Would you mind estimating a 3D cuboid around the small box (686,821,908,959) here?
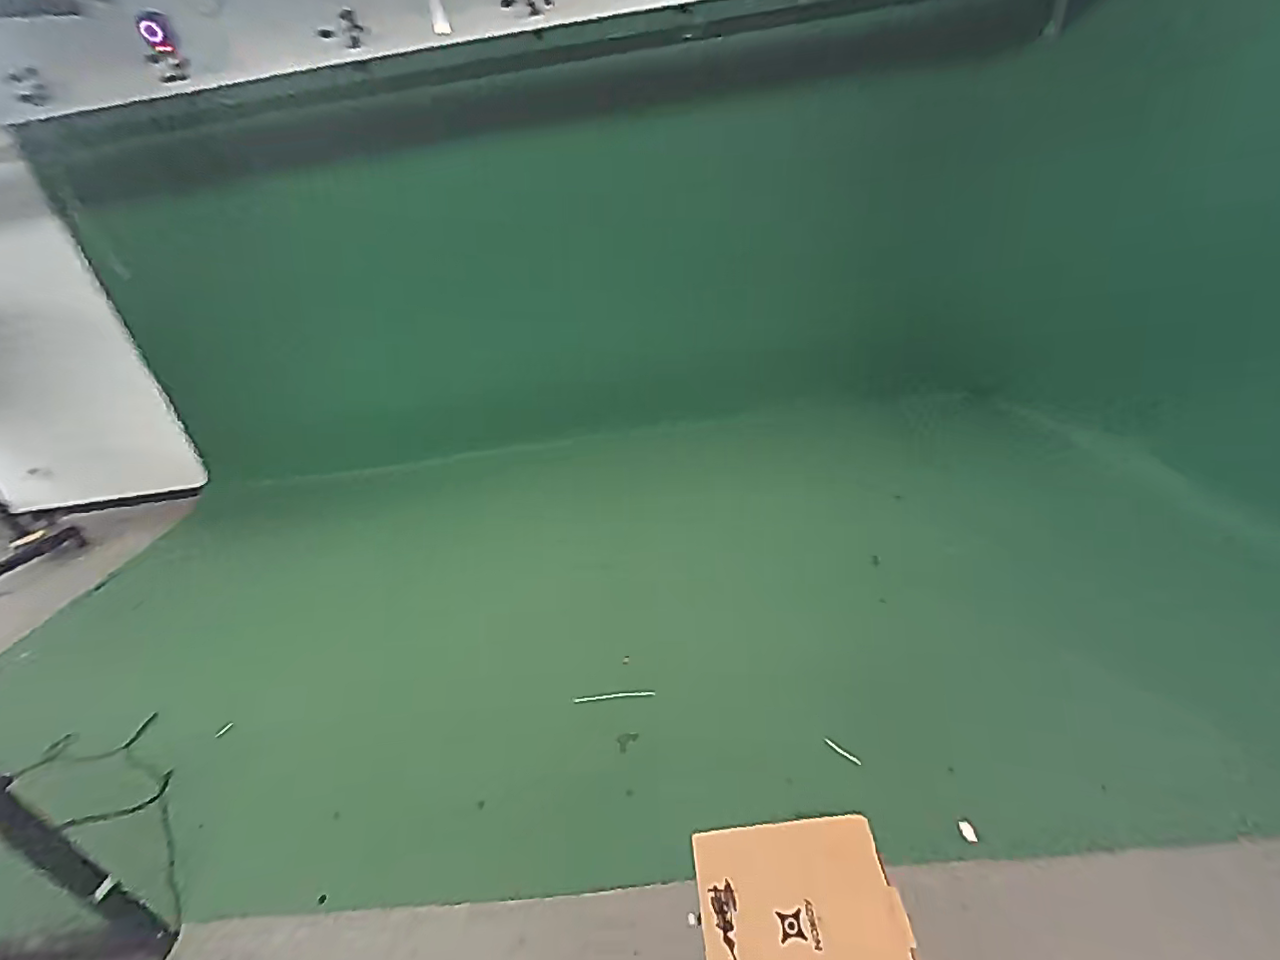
[{"bbox_3d":[0.141,0.454,0.512,0.179,0.176,0.168,-7,34,2],"label":"small box"}]
